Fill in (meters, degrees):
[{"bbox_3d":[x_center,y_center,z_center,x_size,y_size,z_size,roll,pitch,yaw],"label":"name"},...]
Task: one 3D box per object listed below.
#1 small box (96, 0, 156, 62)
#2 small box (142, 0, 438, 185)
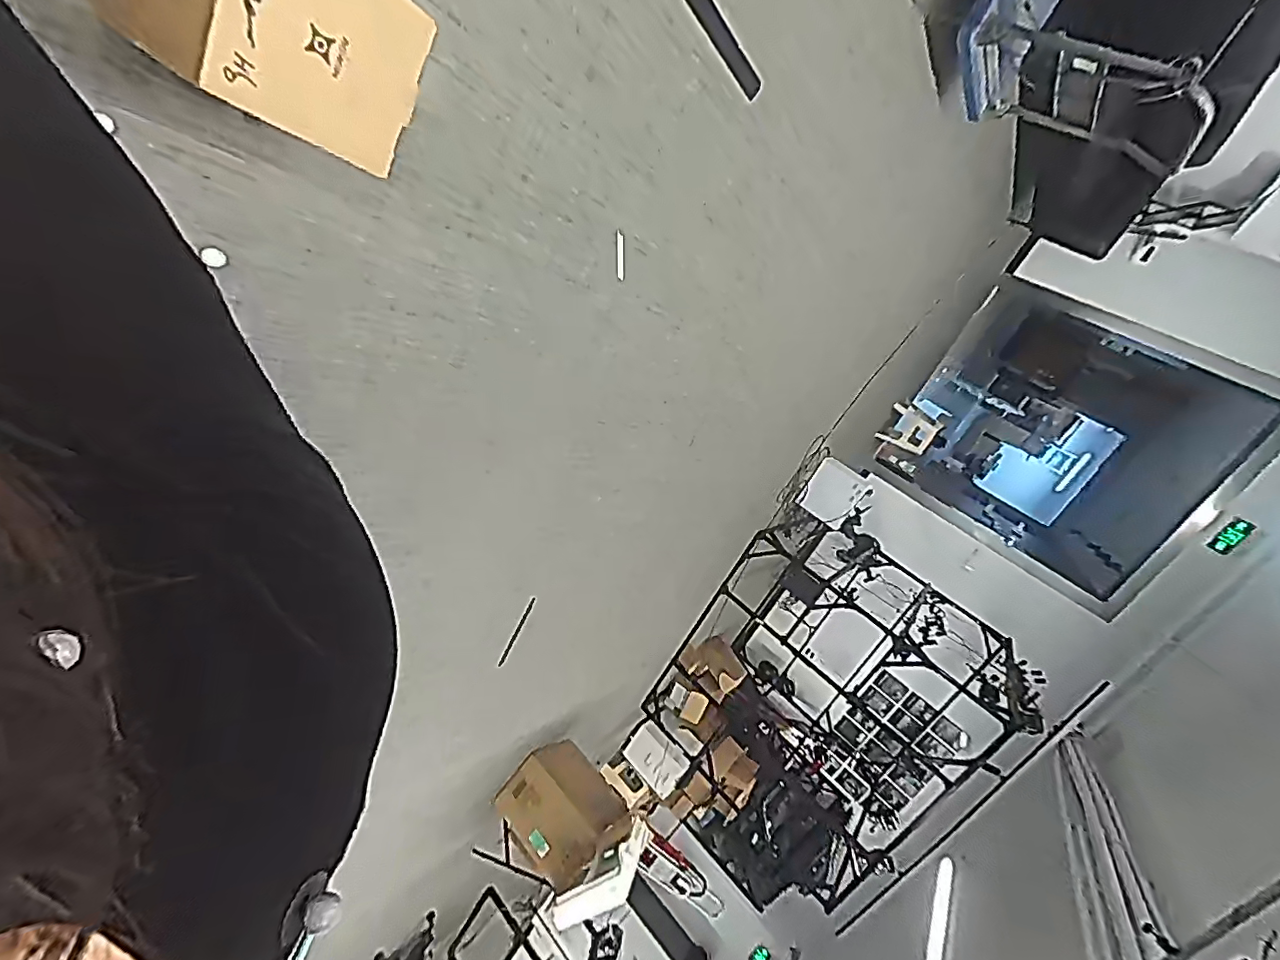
[{"bbox_3d":[-0.462,-0.528,0.613,0.179,0.176,0.168,3,122,-59],"label":"small box"},{"bbox_3d":[-0.346,-0.438,0.540,0.179,0.176,0.168,-1,124,-59],"label":"small box"}]
